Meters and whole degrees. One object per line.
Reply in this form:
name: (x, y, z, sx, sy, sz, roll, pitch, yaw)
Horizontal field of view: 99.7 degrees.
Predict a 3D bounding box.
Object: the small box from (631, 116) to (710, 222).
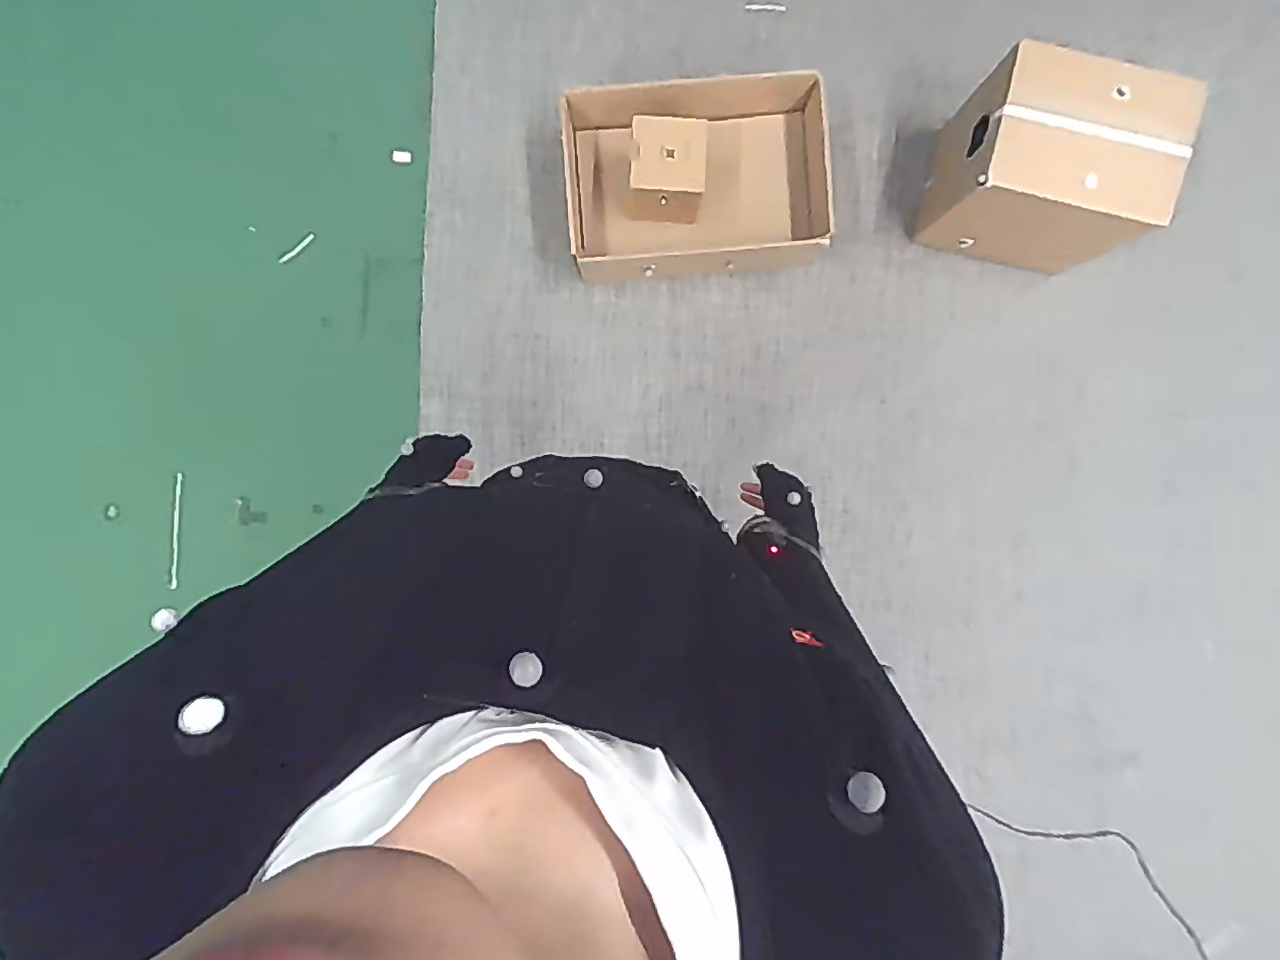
small box: (0.069, -0.751, 1.321, 0.179, 0.176, 0.168, 3, 92, -2)
